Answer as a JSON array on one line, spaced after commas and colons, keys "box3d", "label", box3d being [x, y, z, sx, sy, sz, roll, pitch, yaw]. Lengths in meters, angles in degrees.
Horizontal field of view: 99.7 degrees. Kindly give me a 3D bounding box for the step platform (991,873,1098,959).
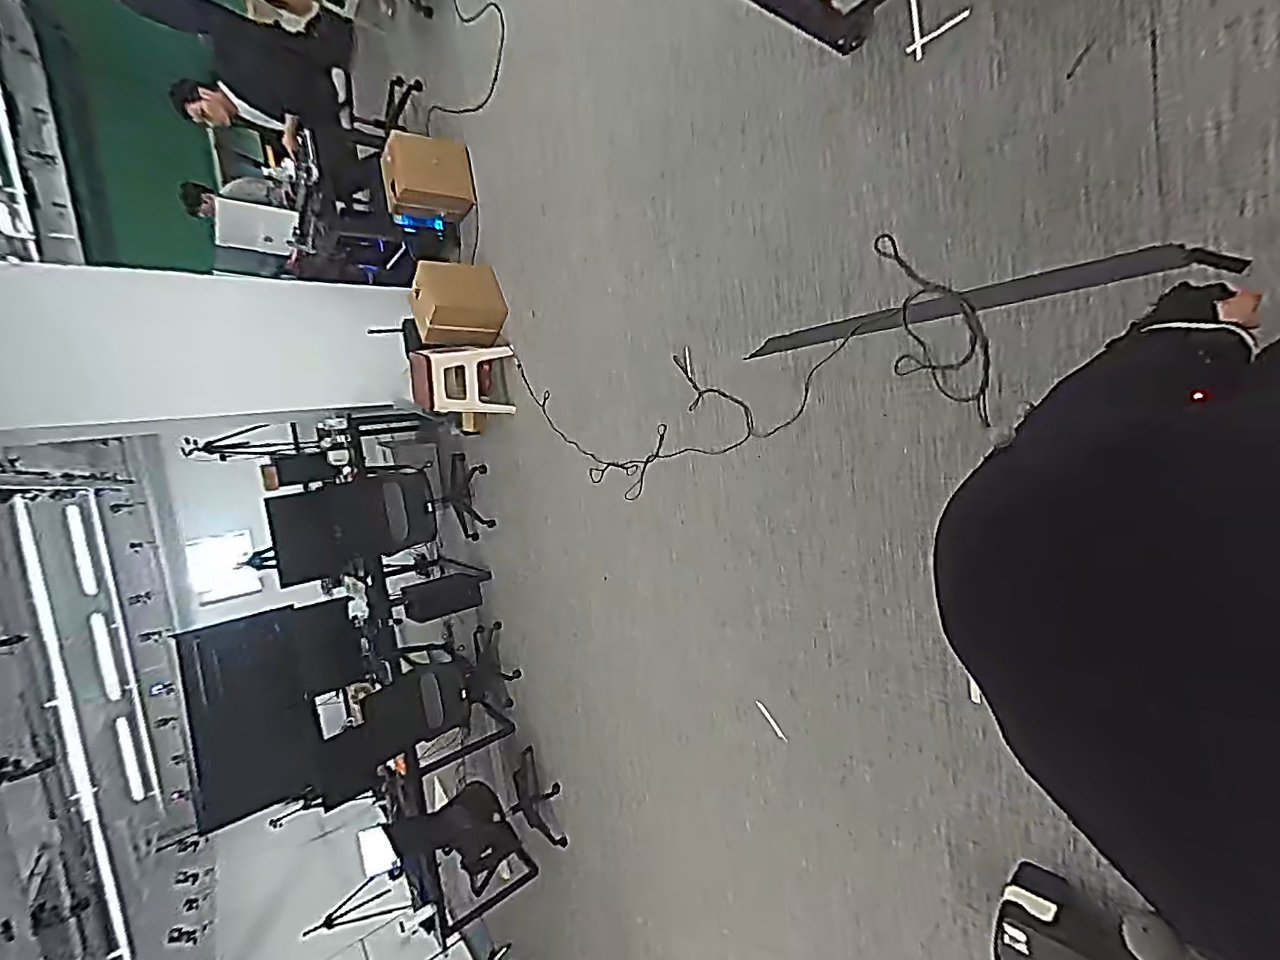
[{"box3d": [1.100, 1.129, 1.066, 0.684, 0.204, 0.286, -1, 99, 51], "label": "step platform"}]
